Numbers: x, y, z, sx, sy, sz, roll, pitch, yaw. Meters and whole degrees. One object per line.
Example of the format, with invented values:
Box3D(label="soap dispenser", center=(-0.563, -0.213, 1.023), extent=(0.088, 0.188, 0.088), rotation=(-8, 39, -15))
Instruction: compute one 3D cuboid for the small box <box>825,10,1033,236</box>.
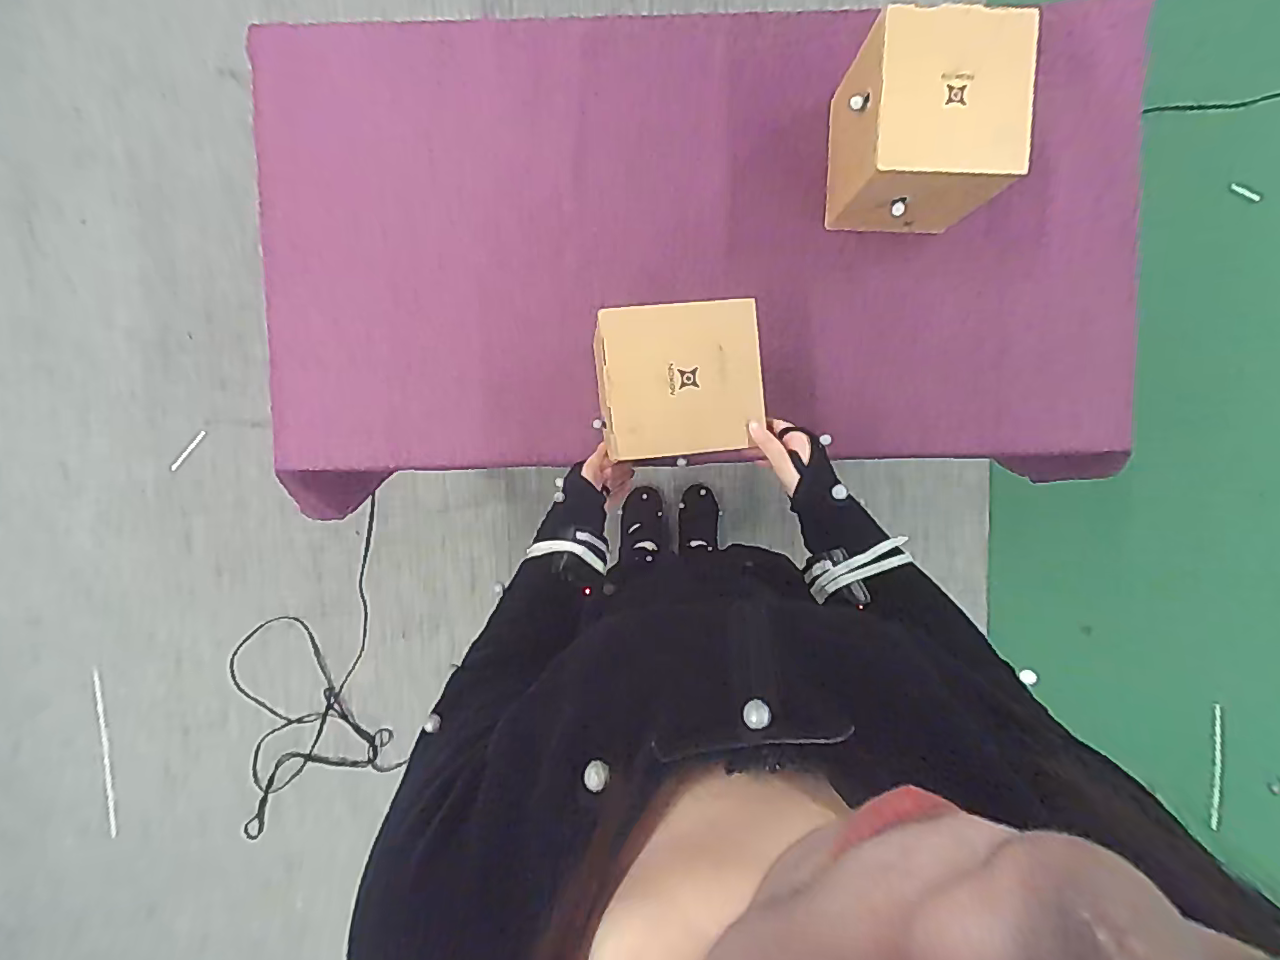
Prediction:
Box3D(label="small box", center=(0.335, -0.418, 0.661), extent=(0.168, 0.176, 0.179), rotation=(2, 92, 1))

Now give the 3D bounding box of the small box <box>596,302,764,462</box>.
Box3D(label="small box", center=(0.037, -0.110, 0.668), extent=(0.179, 0.176, 0.168), rotation=(-5, 93, -7))
